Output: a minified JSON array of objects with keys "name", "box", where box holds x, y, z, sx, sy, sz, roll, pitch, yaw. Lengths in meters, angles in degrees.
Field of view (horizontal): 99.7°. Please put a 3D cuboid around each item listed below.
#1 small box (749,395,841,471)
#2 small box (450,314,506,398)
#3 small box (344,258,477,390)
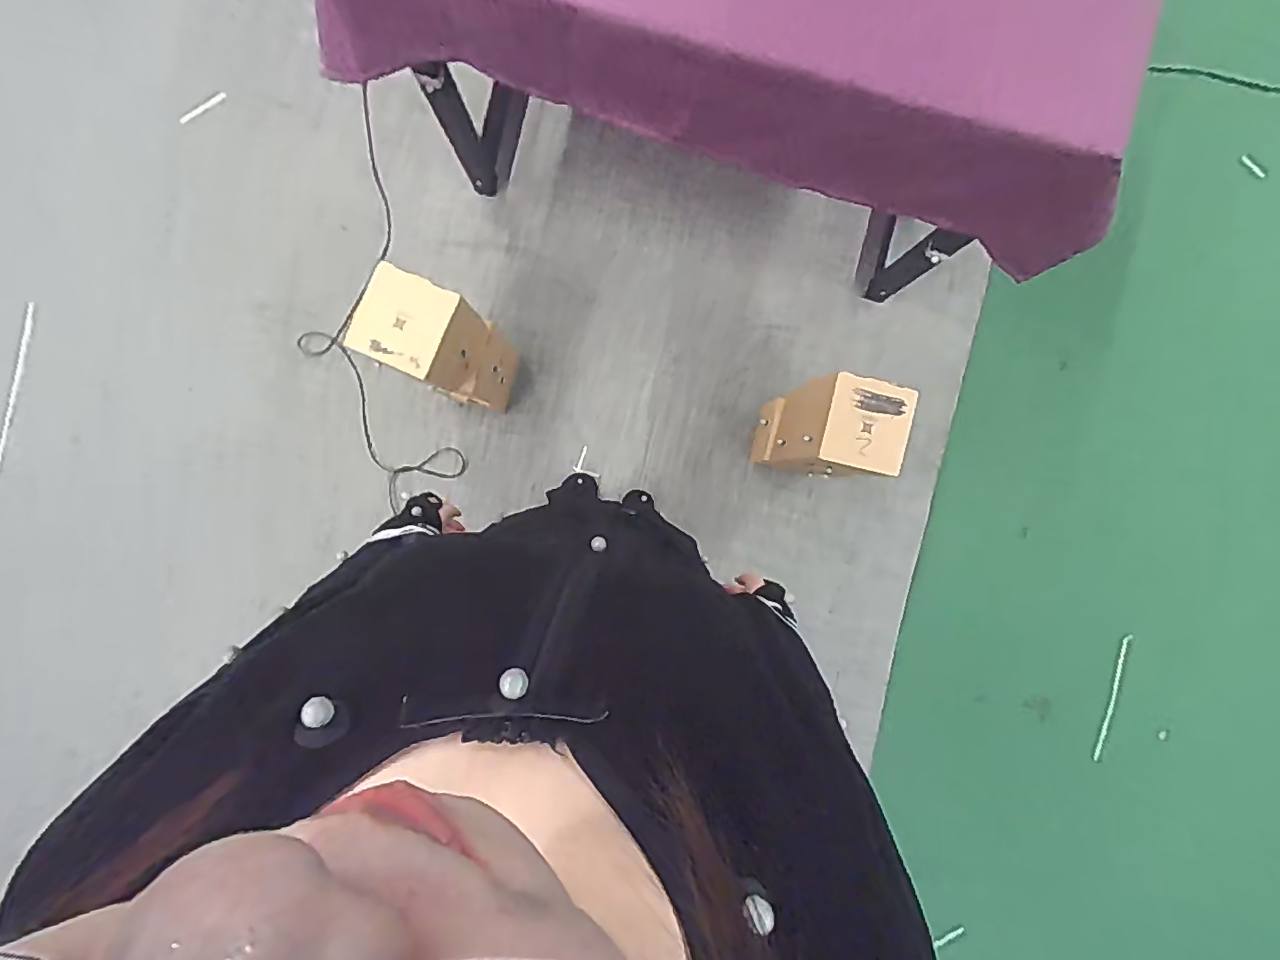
[{"name":"small box","box":[0.406,-0.120,1.451,0.179,0.176,0.168,12,91,-3]},{"name":"small box","box":[-0.430,-0.296,1.247,0.179,0.176,0.168,17,90,-3]},{"name":"small box","box":[-0.444,-0.301,1.082,0.168,0.176,0.179,24,89,-2]}]
